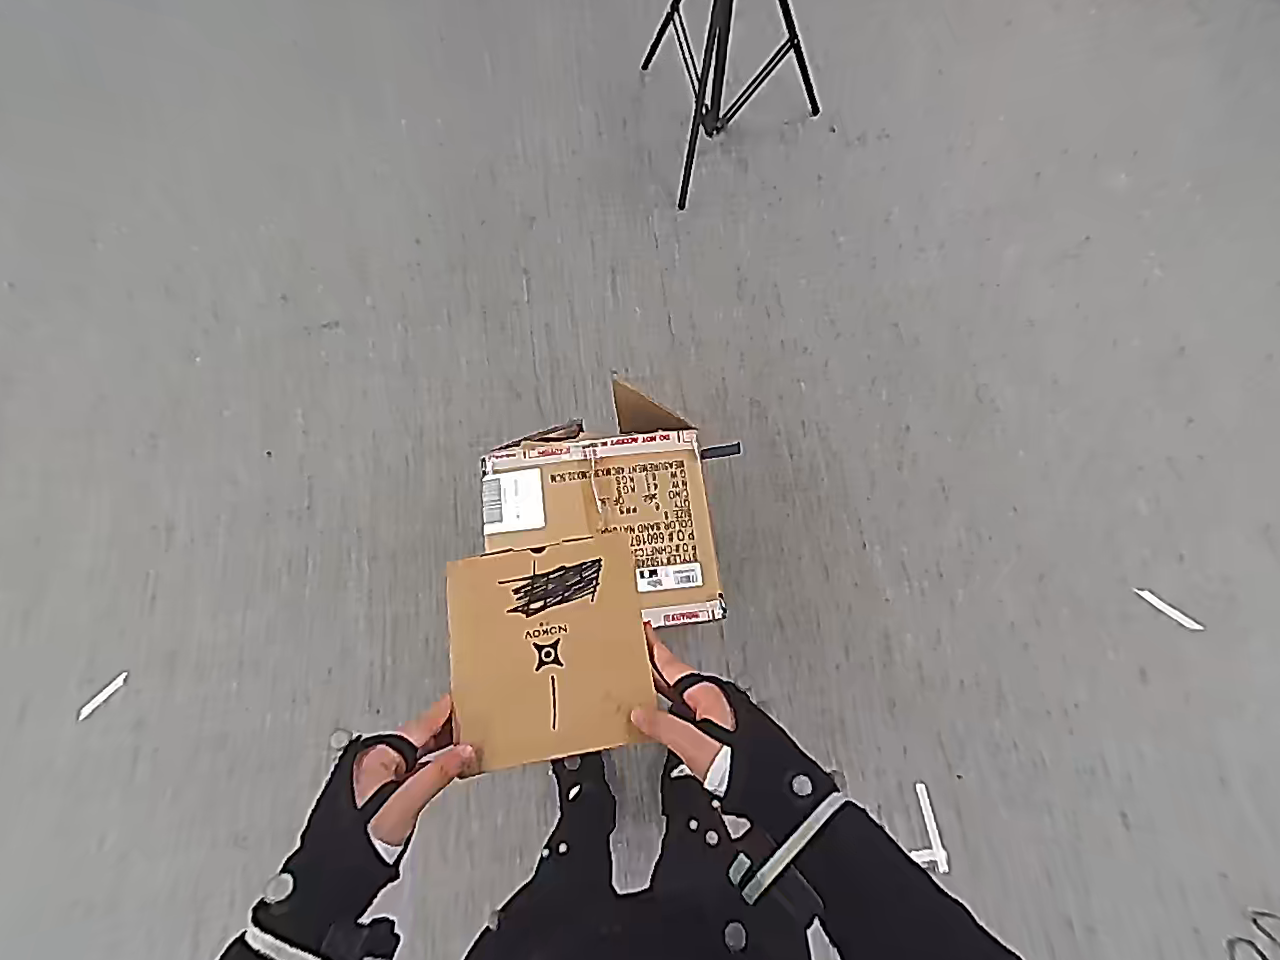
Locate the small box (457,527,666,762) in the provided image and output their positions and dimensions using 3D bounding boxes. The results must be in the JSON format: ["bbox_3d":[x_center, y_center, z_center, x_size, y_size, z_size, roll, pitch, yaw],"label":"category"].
[{"bbox_3d":[-0.073,0.165,0.538,0.168,0.176,0.179,-10,68,-4],"label":"small box"}]
